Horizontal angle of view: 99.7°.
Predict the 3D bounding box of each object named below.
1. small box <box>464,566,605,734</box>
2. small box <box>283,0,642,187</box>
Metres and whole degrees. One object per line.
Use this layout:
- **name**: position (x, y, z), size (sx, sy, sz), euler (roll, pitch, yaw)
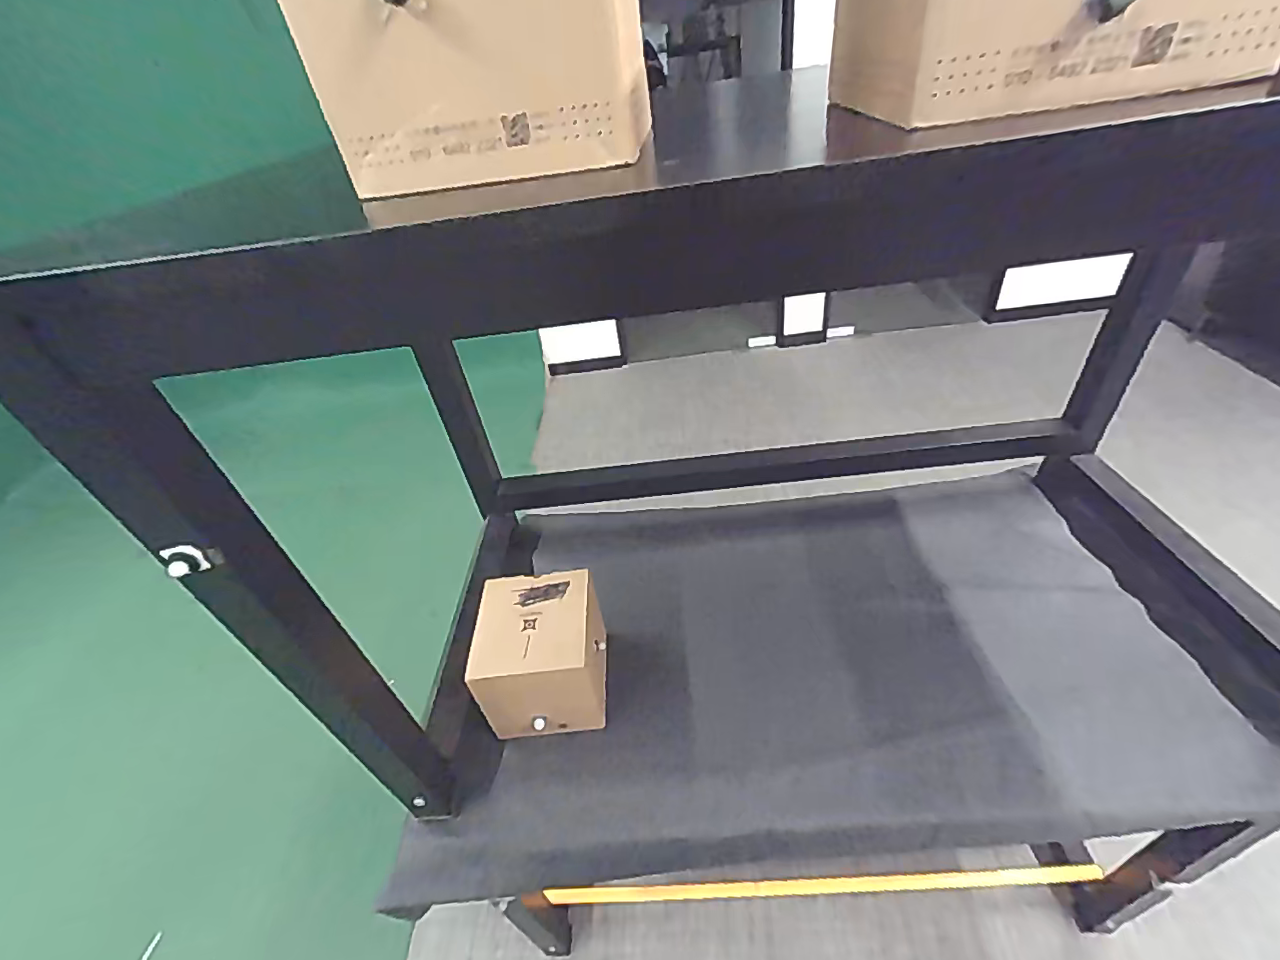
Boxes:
- **small box**: position (-0.148, 0.259, 0.828), size (0.168, 0.176, 0.179), euler (-7, 38, 2)
- **small box**: position (-0.093, -0.288, 0.326), size (0.168, 0.176, 0.179), euler (-3, 38, 7)
